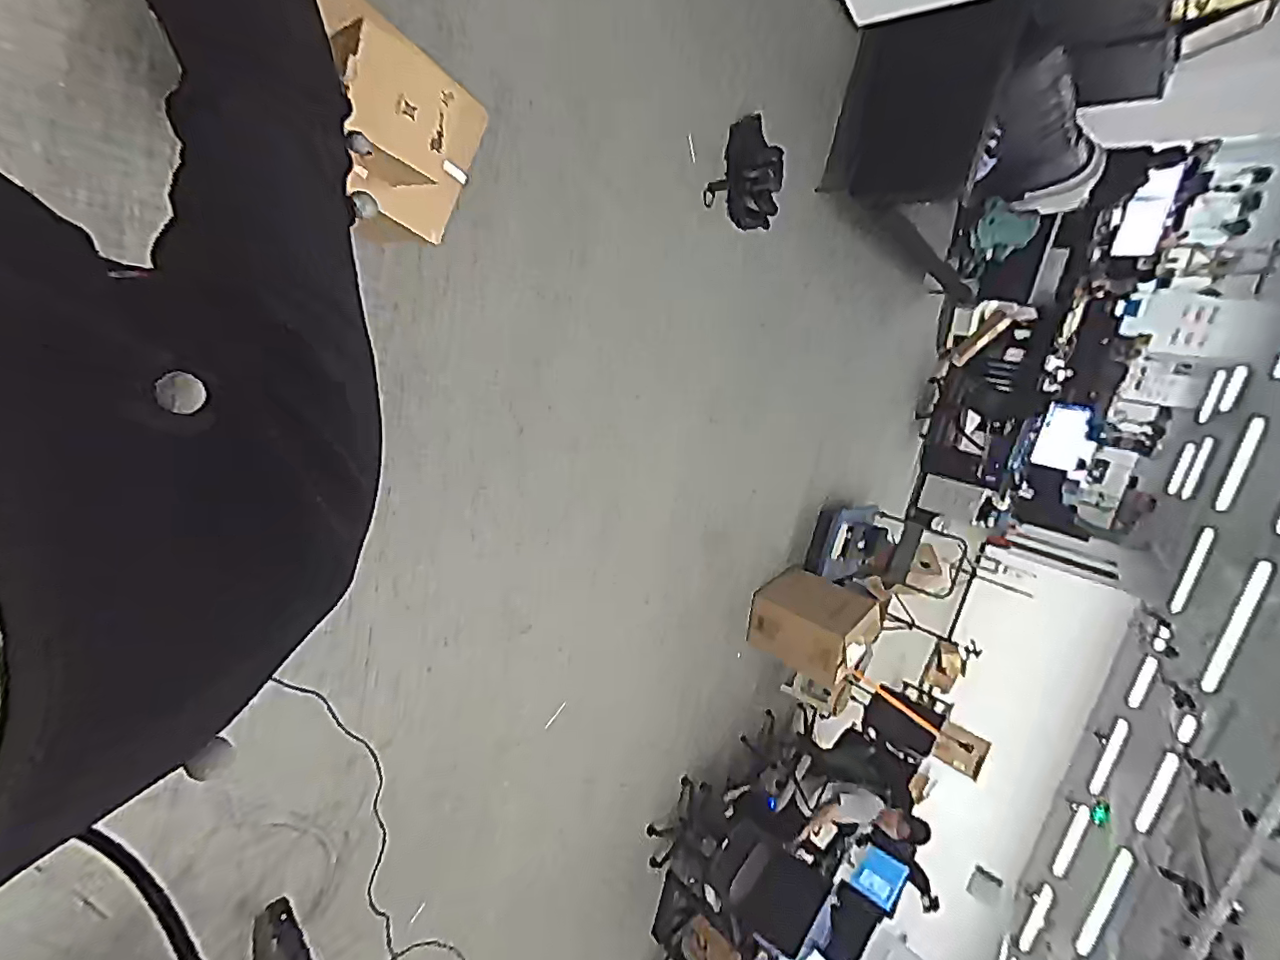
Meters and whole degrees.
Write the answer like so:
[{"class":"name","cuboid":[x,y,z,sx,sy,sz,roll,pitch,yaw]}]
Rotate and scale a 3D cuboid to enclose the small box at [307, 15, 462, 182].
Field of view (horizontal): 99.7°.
[{"class":"small box","cuboid":[-0.447,-0.640,0.939,0.179,0.176,0.168,10,100,-50]}]
